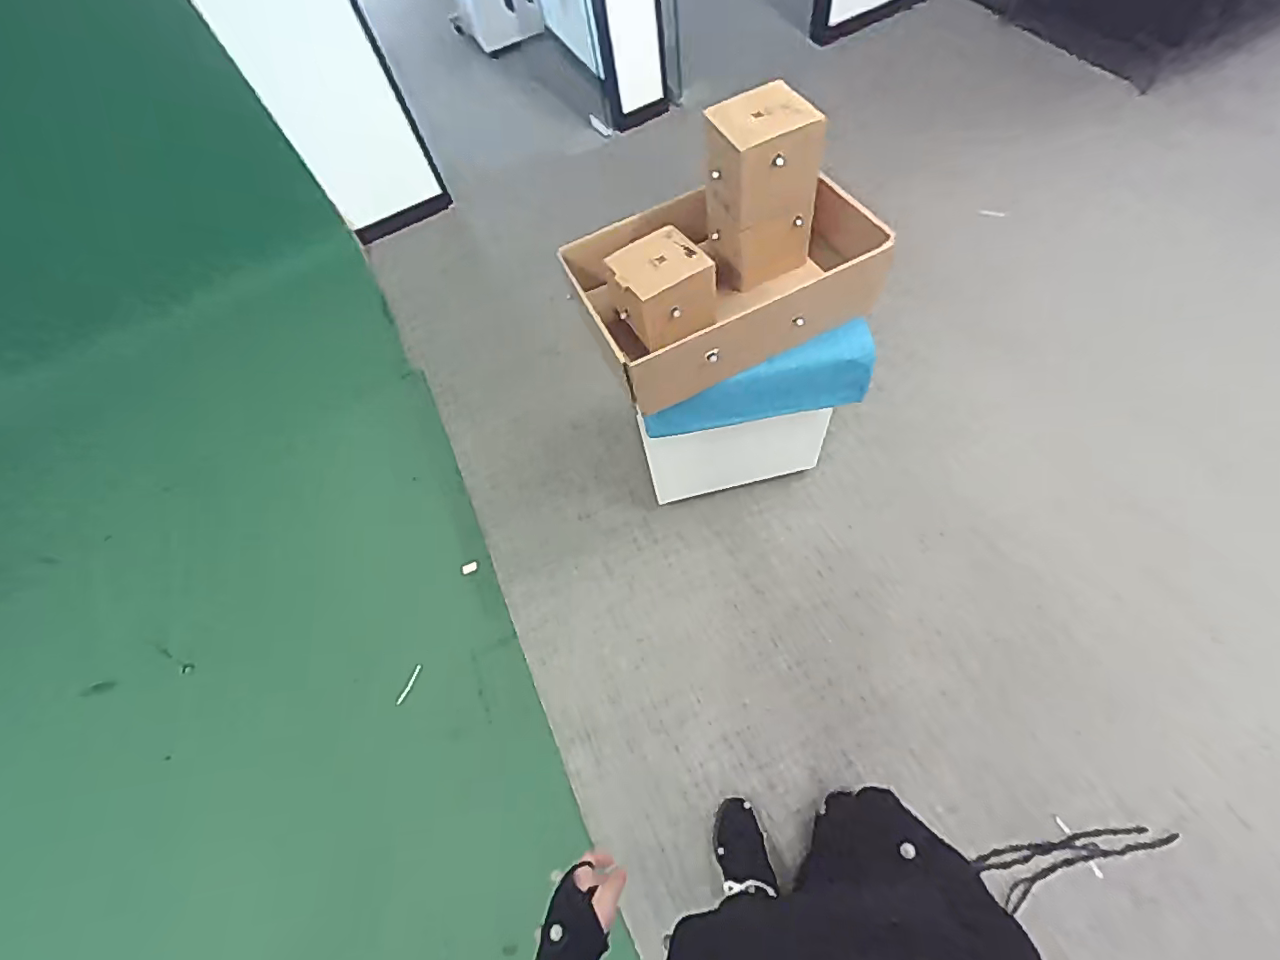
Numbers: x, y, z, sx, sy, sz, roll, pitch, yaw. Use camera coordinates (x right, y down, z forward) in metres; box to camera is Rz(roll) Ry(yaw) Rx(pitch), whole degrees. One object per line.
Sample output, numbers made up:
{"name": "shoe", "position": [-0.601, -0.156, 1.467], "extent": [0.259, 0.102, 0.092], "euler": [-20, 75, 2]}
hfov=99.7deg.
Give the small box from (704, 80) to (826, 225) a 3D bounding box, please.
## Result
{"name": "small box", "position": [0.244, -0.647, 1.081], "extent": [0.179, 0.176, 0.168], "euler": [-23, 61, -3]}
